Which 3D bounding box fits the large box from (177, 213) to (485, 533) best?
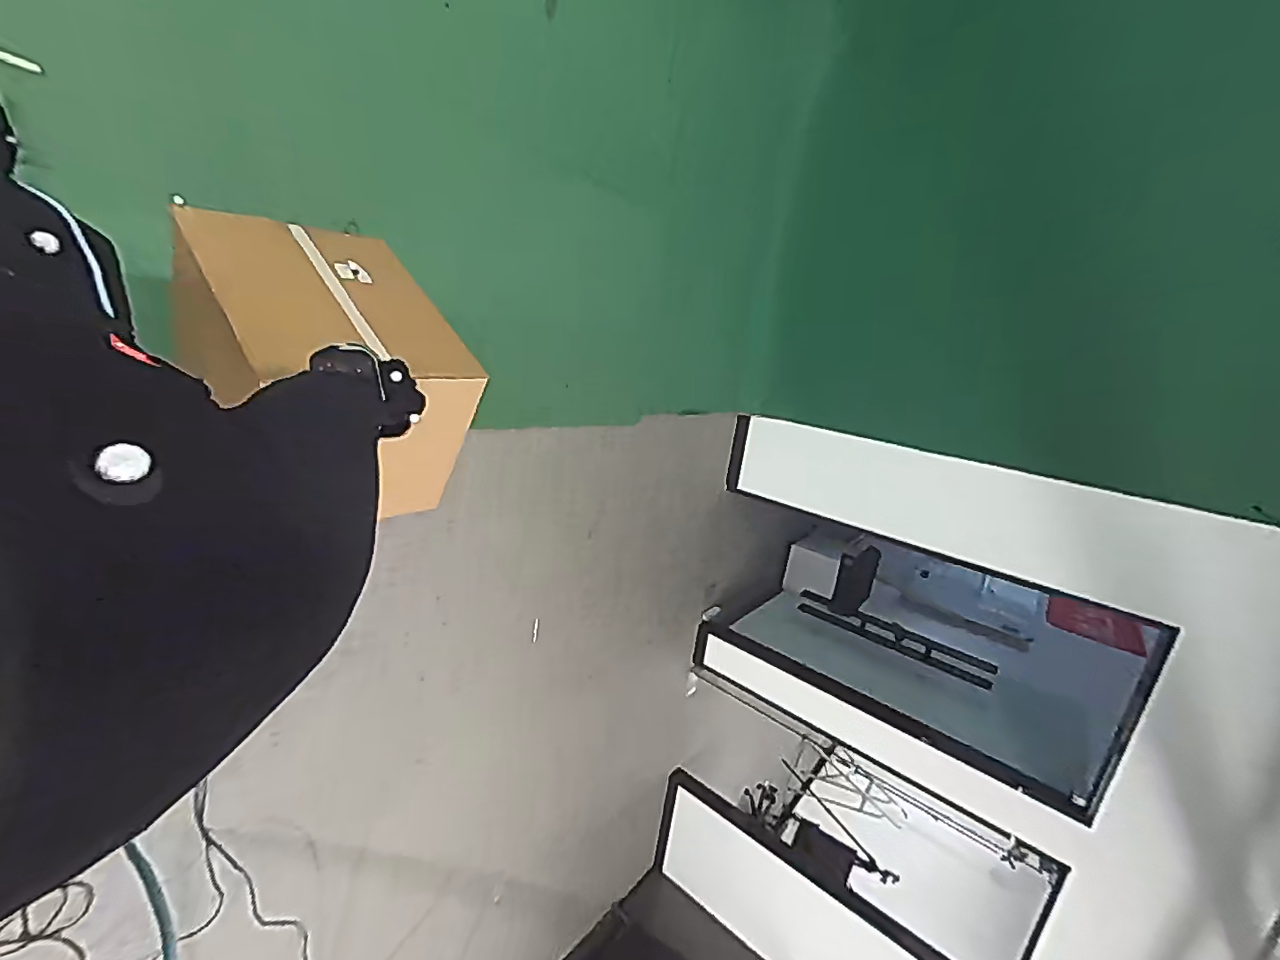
[{"bbox_3d":[-0.530,-0.180,0.917,0.320,0.408,0.320,-13,145,-48],"label":"large box"}]
